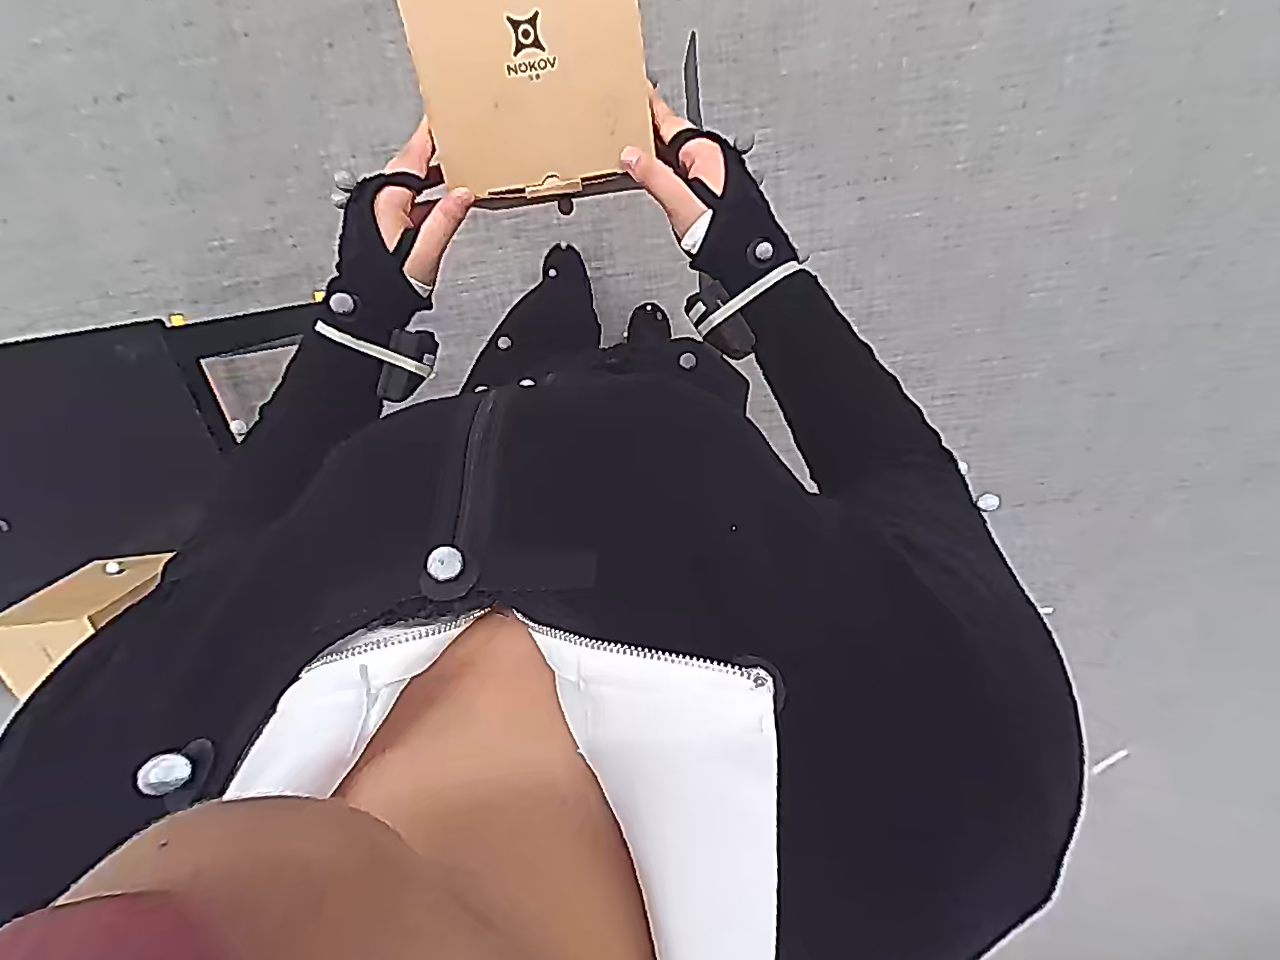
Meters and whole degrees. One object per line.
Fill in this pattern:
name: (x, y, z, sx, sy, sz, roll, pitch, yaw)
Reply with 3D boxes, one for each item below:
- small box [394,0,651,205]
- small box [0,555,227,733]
small box: (-0.082, -0.337, 0.450, 0.168, 0.176, 0.179, -8, 116, 2)
small box: (-0.749, 0.229, 0.772, 0.168, 0.176, 0.179, -6, 112, 4)
